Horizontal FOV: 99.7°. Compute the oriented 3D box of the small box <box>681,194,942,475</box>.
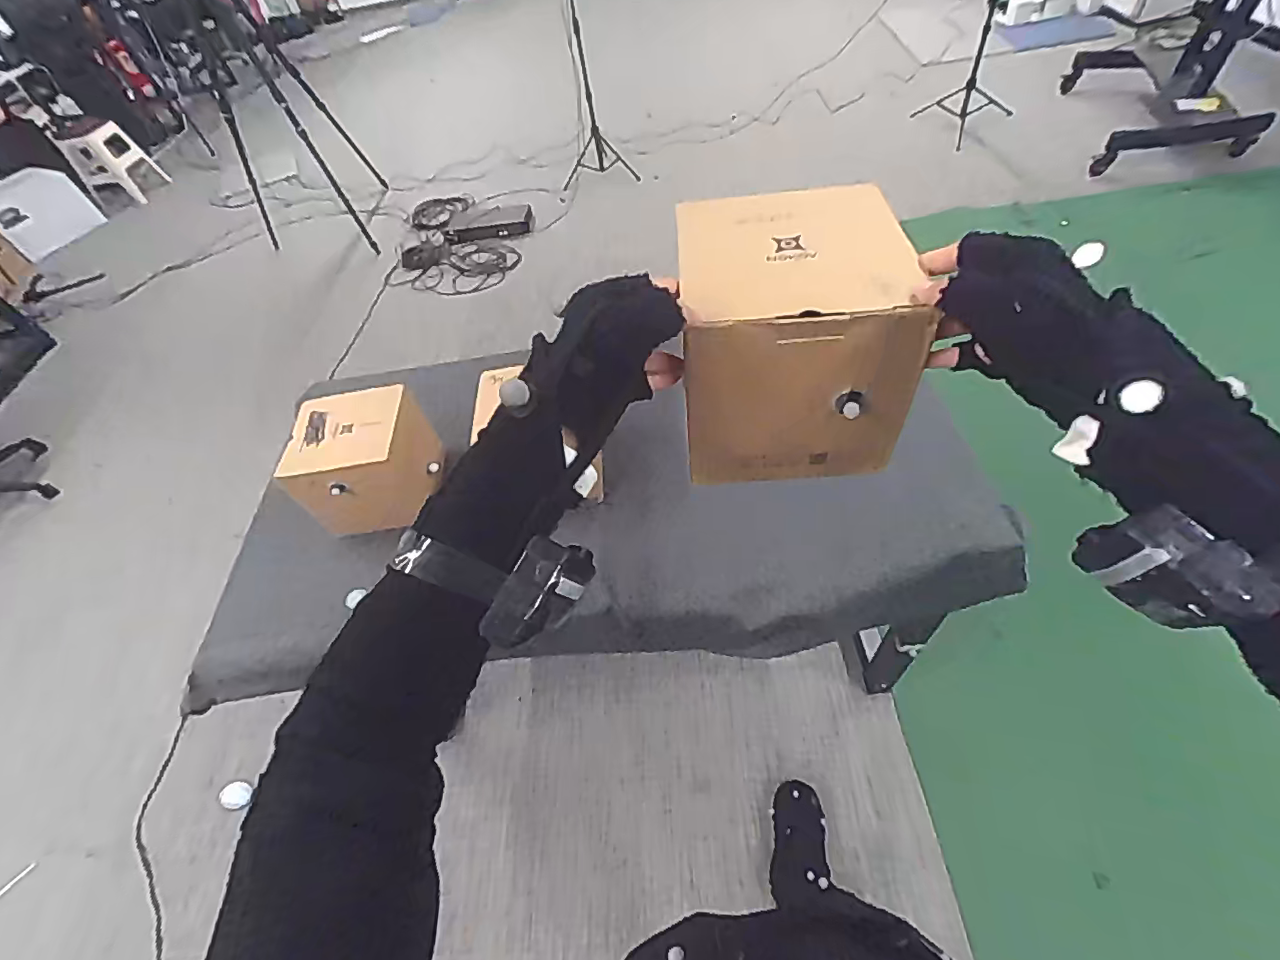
[{"bbox_3d":[0.123,-0.115,0.464,0.168,0.176,0.179,-3,49,5],"label":"small box"}]

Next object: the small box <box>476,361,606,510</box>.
[{"bbox_3d":[-0.150,-0.064,0.884,0.168,0.176,0.179,-8,53,4],"label":"small box"}]

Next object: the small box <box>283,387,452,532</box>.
[{"bbox_3d":[-0.441,-0.029,0.905,0.179,0.176,0.168,-9,52,2],"label":"small box"}]
